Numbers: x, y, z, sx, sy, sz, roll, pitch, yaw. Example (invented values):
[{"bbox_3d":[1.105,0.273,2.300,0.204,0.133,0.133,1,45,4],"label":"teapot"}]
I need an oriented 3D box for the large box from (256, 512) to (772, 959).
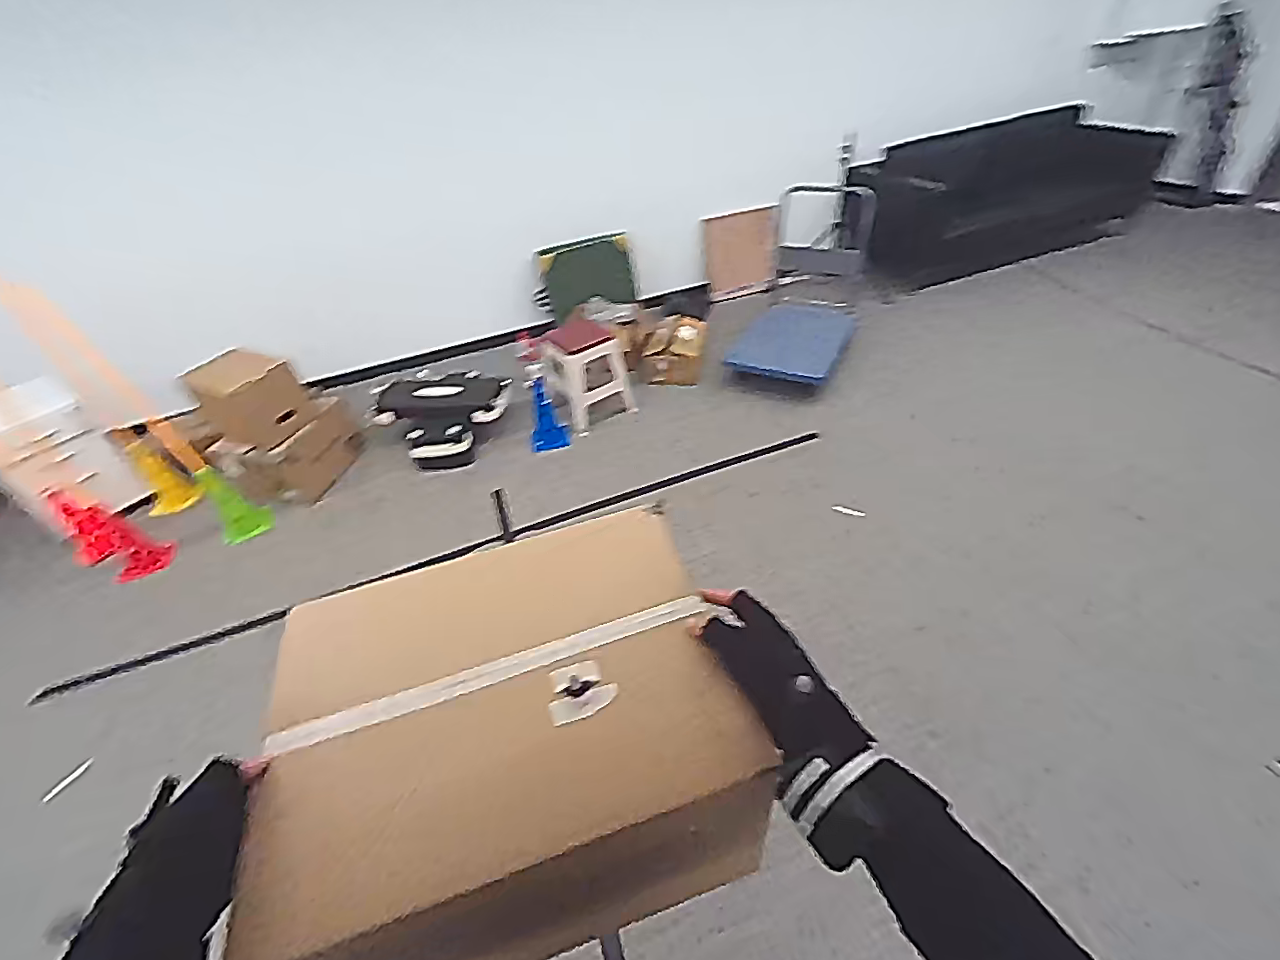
[{"bbox_3d":[-0.112,0.295,0.609,0.408,0.320,0.320,-15,43,-10],"label":"large box"}]
